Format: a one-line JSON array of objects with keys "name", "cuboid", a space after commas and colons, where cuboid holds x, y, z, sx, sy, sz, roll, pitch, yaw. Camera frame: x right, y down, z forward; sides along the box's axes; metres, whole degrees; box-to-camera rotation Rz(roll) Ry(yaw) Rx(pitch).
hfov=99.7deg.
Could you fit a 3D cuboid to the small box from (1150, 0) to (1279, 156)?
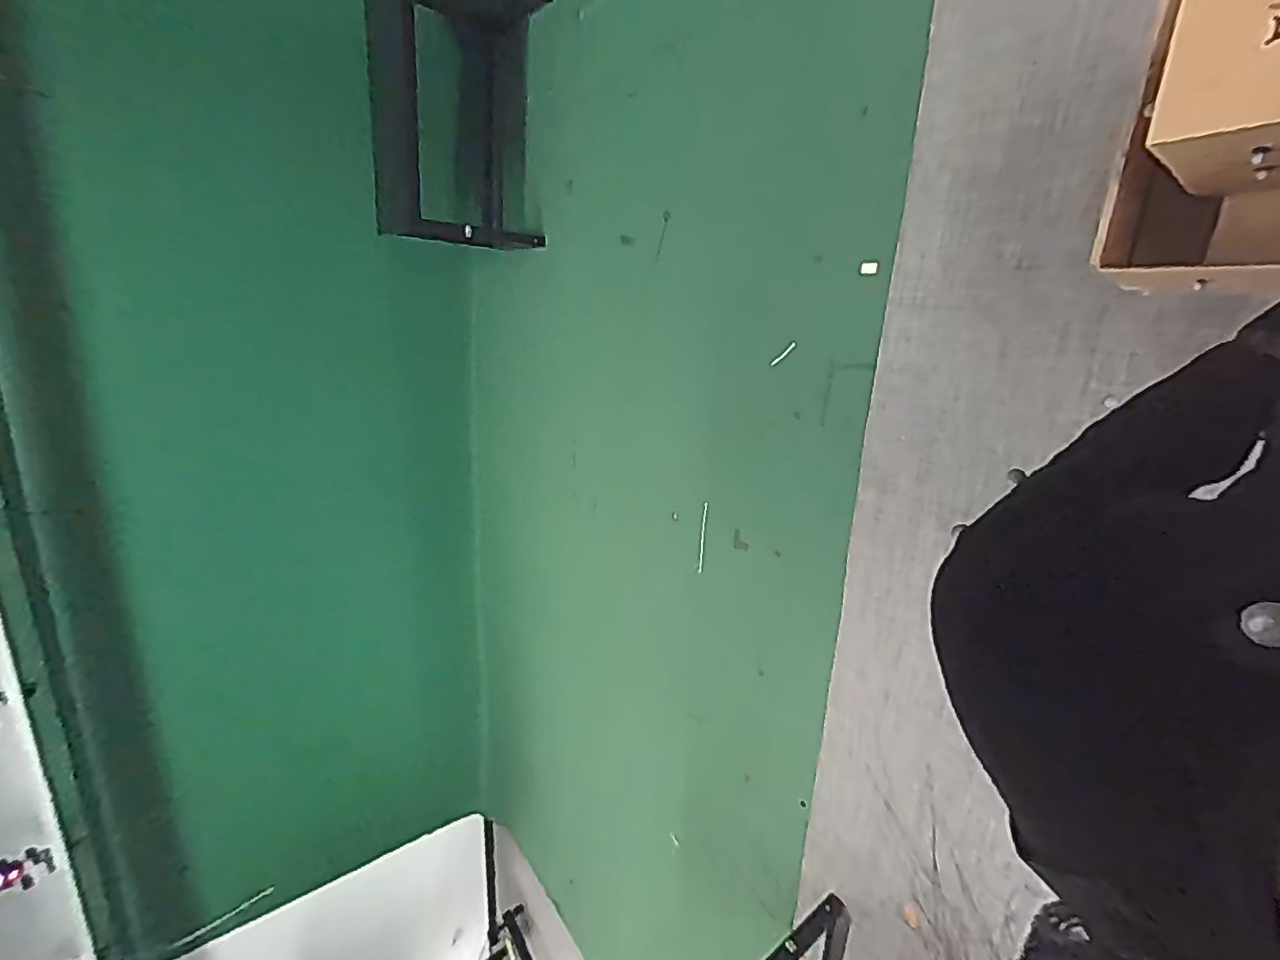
[{"name": "small box", "cuboid": [0.642, -0.430, 0.518, 0.168, 0.176, 0.179, 22, 115, 50]}]
